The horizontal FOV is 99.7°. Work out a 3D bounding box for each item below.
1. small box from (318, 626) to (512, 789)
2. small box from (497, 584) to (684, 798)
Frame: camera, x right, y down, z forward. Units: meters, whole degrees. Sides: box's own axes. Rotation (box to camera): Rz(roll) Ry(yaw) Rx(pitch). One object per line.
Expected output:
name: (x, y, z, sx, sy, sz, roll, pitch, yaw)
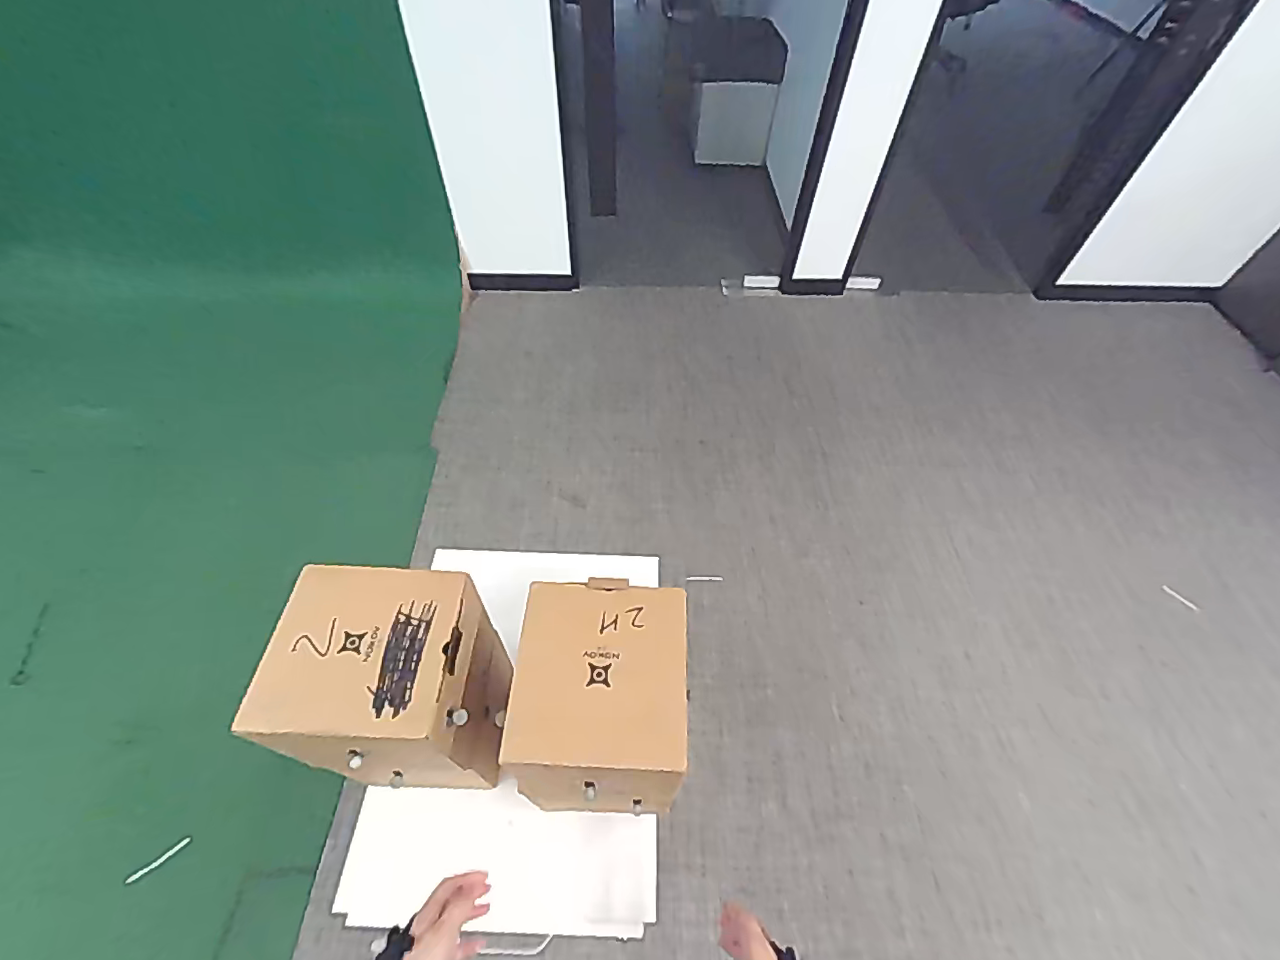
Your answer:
small box: (-0.279, 0.307, 0.721, 0.179, 0.176, 0.168, 2, 53, -2)
small box: (-0.042, 0.231, 0.581, 0.168, 0.176, 0.179, 4, 52, 0)
